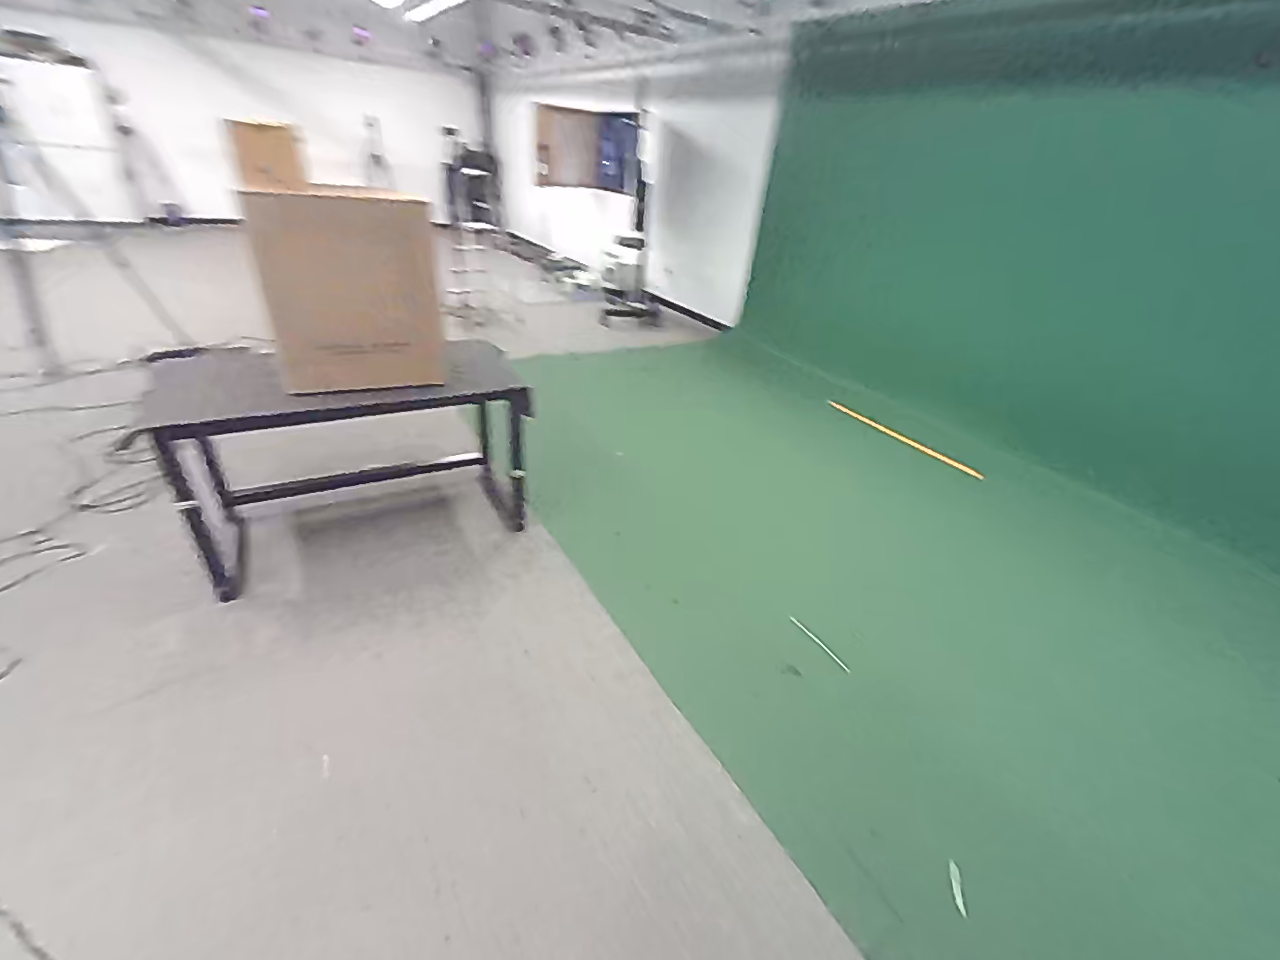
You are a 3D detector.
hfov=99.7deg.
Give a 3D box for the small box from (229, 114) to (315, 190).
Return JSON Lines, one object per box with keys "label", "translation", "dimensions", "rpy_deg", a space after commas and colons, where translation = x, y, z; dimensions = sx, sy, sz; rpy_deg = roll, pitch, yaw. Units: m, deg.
{"label": "small box", "translation": [-1.078, -0.970, 1.599], "dimensions": [0.168, 0.176, 0.179], "rpy_deg": [-7, 36, -20]}
